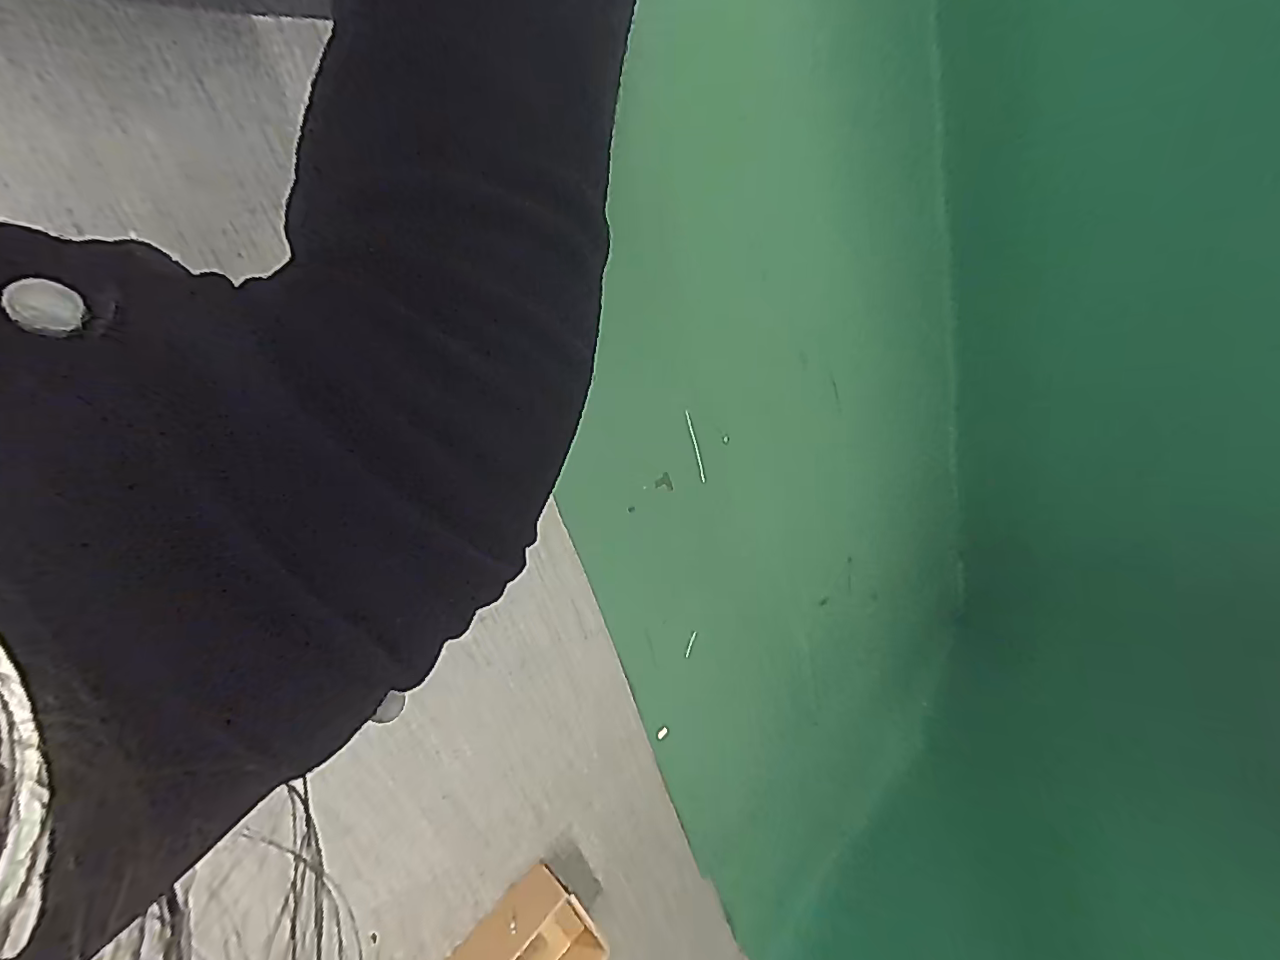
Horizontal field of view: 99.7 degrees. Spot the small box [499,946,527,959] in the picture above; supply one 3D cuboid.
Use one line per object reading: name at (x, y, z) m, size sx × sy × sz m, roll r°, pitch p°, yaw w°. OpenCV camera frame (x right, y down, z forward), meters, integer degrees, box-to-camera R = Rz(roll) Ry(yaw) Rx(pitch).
small box at (-0.390, 1.616, 1.682) m, size 0.168 × 0.176 × 0.179 m, roll -36°, pitch 120°, yaw -31°
